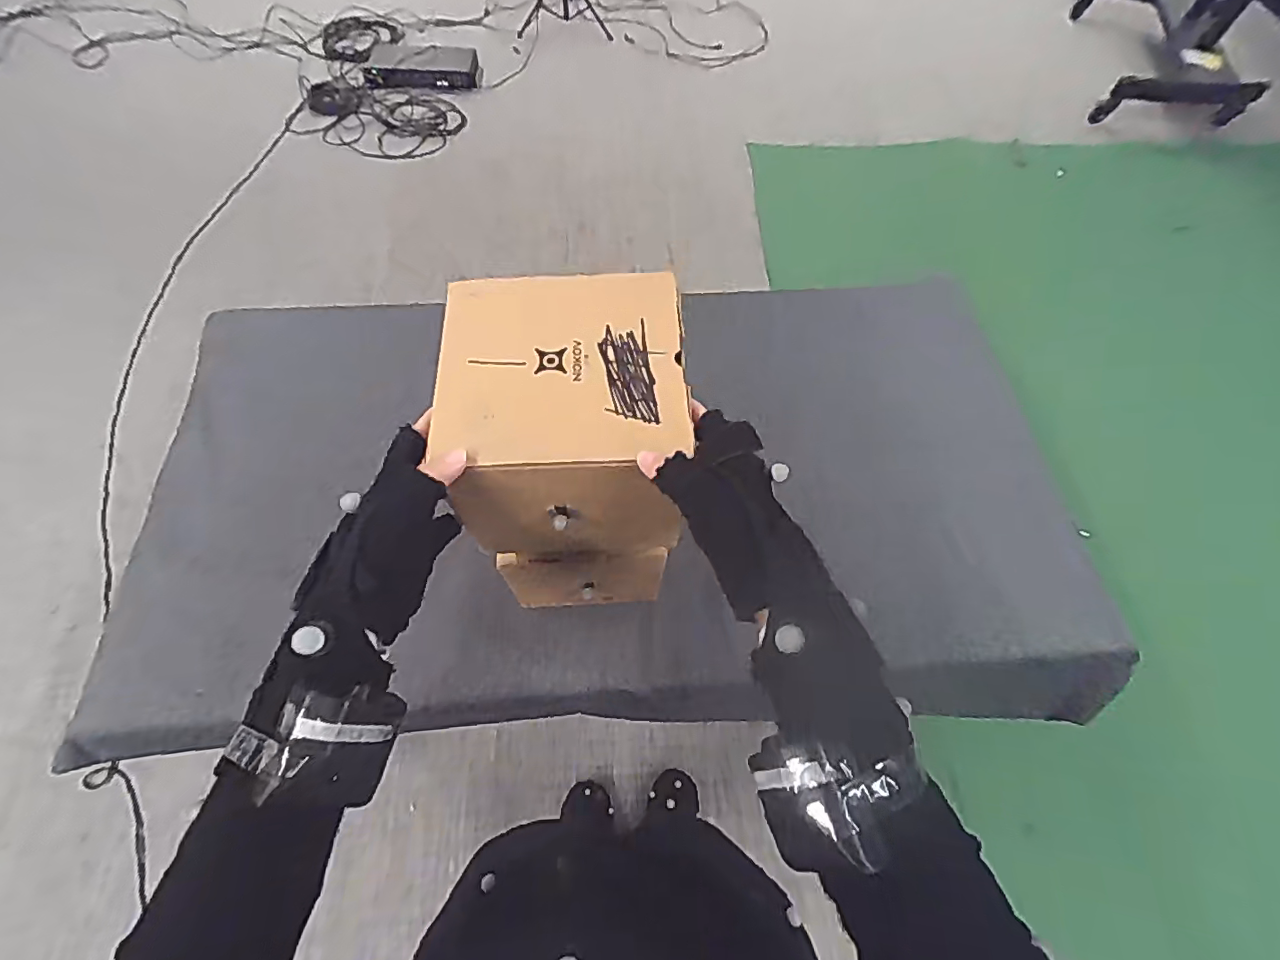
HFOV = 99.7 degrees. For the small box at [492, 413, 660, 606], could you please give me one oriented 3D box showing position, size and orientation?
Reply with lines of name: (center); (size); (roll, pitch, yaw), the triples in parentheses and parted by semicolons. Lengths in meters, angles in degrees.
small box: (-0.067, 0.043, 0.627); (0.168, 0.176, 0.179); (-3, 63, -3)
